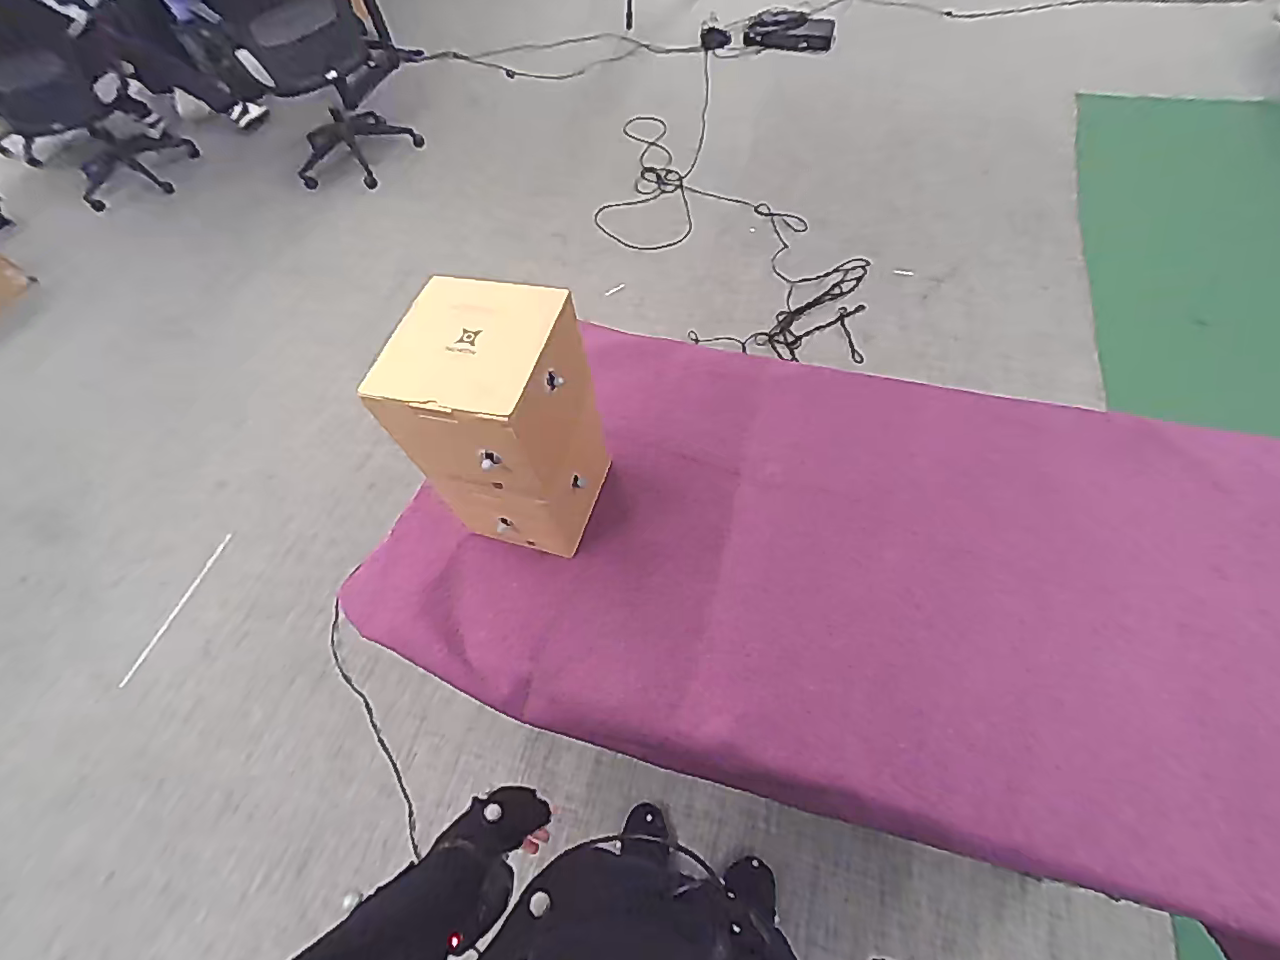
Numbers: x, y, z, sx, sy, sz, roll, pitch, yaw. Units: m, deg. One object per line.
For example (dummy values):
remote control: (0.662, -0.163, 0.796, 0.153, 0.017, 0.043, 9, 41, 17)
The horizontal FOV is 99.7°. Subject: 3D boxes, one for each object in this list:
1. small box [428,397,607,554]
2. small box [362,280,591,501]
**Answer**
small box: (-0.154, -0.016, 0.758, 0.168, 0.176, 0.179, 12, 62, 13)
small box: (-0.164, -0.096, 0.616, 0.168, 0.176, 0.179, 10, 60, 12)
